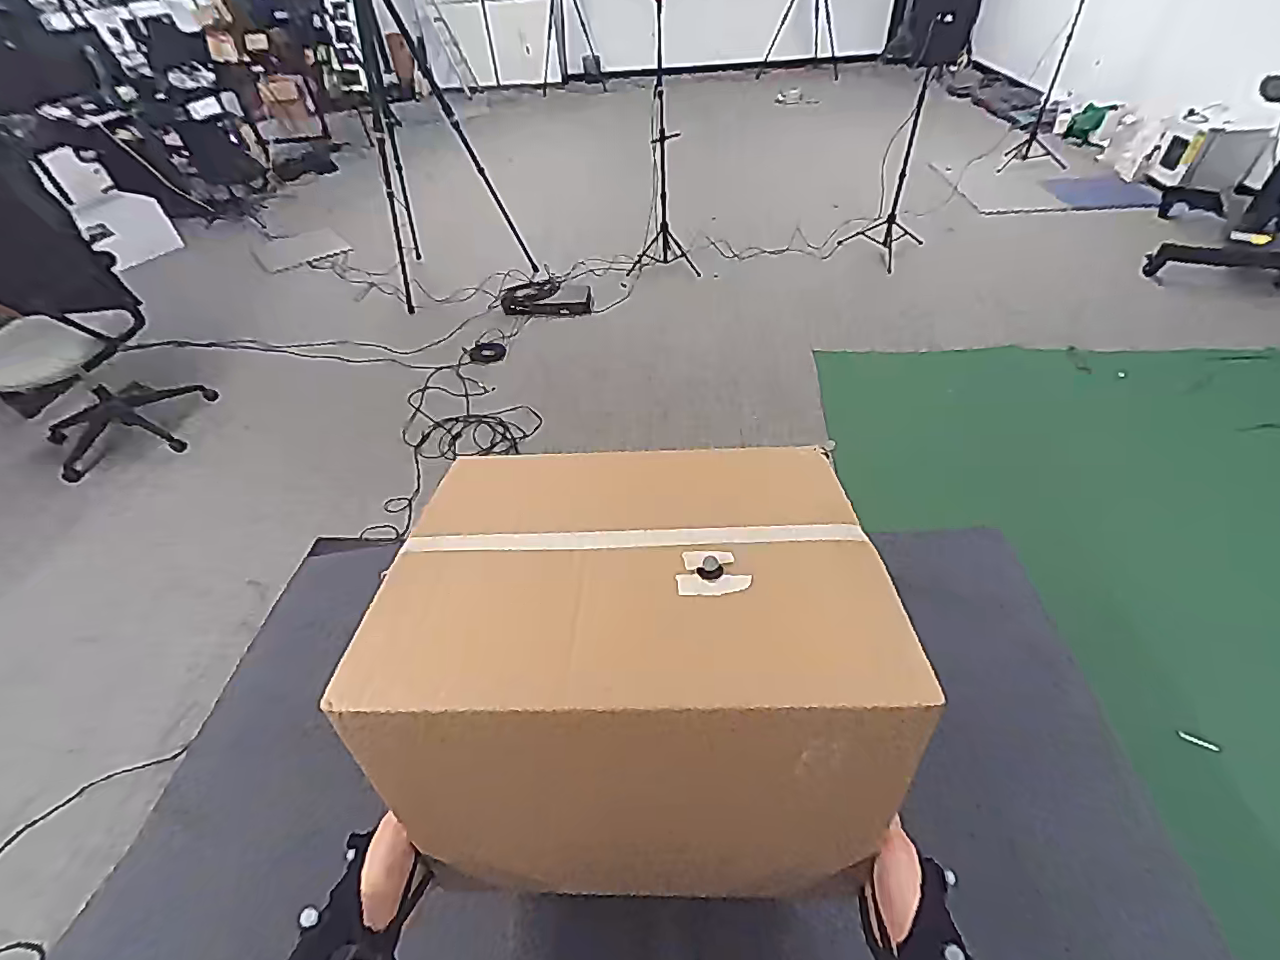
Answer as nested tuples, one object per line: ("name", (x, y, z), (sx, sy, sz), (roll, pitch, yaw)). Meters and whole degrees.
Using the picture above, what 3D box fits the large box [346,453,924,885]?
("large box", (0.001, 0.186, 0.569), (0.408, 0.320, 0.320), (-2, 36, 3))
